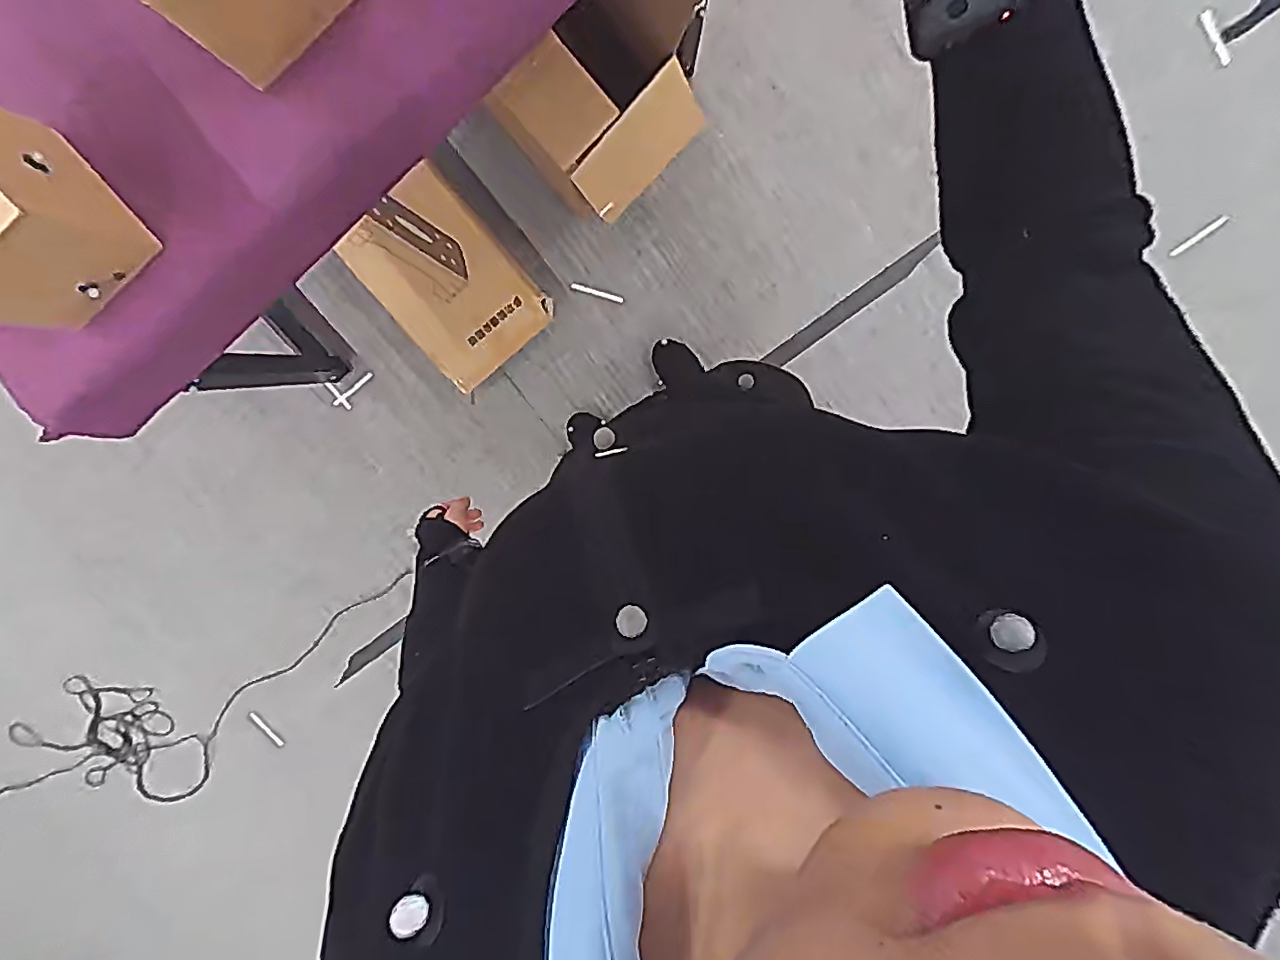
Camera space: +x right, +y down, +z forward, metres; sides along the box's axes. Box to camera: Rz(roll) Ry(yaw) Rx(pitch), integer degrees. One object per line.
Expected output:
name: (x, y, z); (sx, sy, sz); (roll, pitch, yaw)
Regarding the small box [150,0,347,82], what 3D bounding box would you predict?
small box: (-0.430, -0.563, 0.539); (0.179, 0.176, 0.168); (-39, 97, 7)
